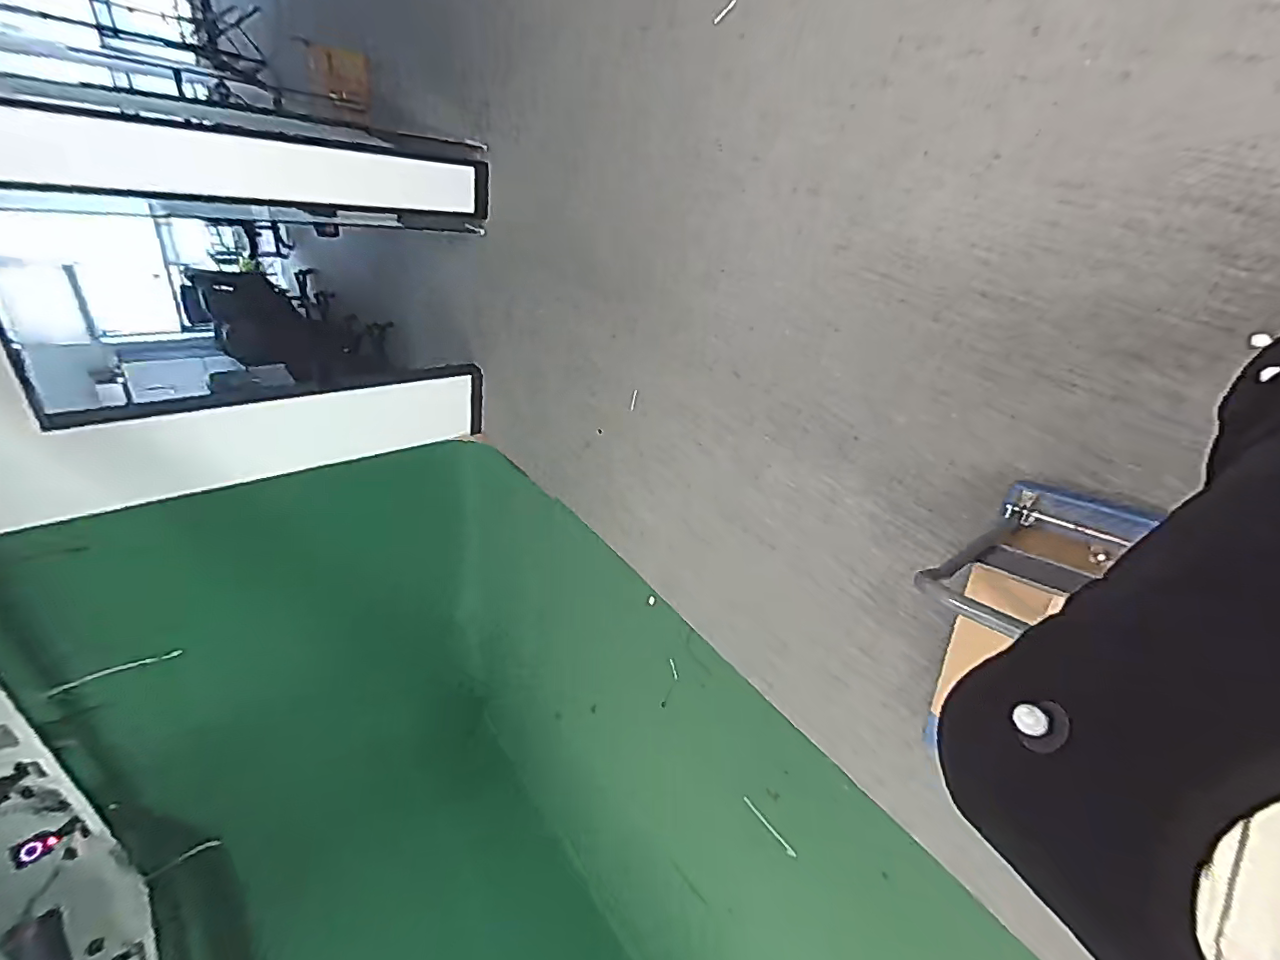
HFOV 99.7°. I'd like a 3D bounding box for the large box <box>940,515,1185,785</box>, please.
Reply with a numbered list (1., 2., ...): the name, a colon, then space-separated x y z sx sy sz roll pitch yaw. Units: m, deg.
1. large box: 0.913 0.339 1.187 0.320 0.320 0.408 23 121 43
